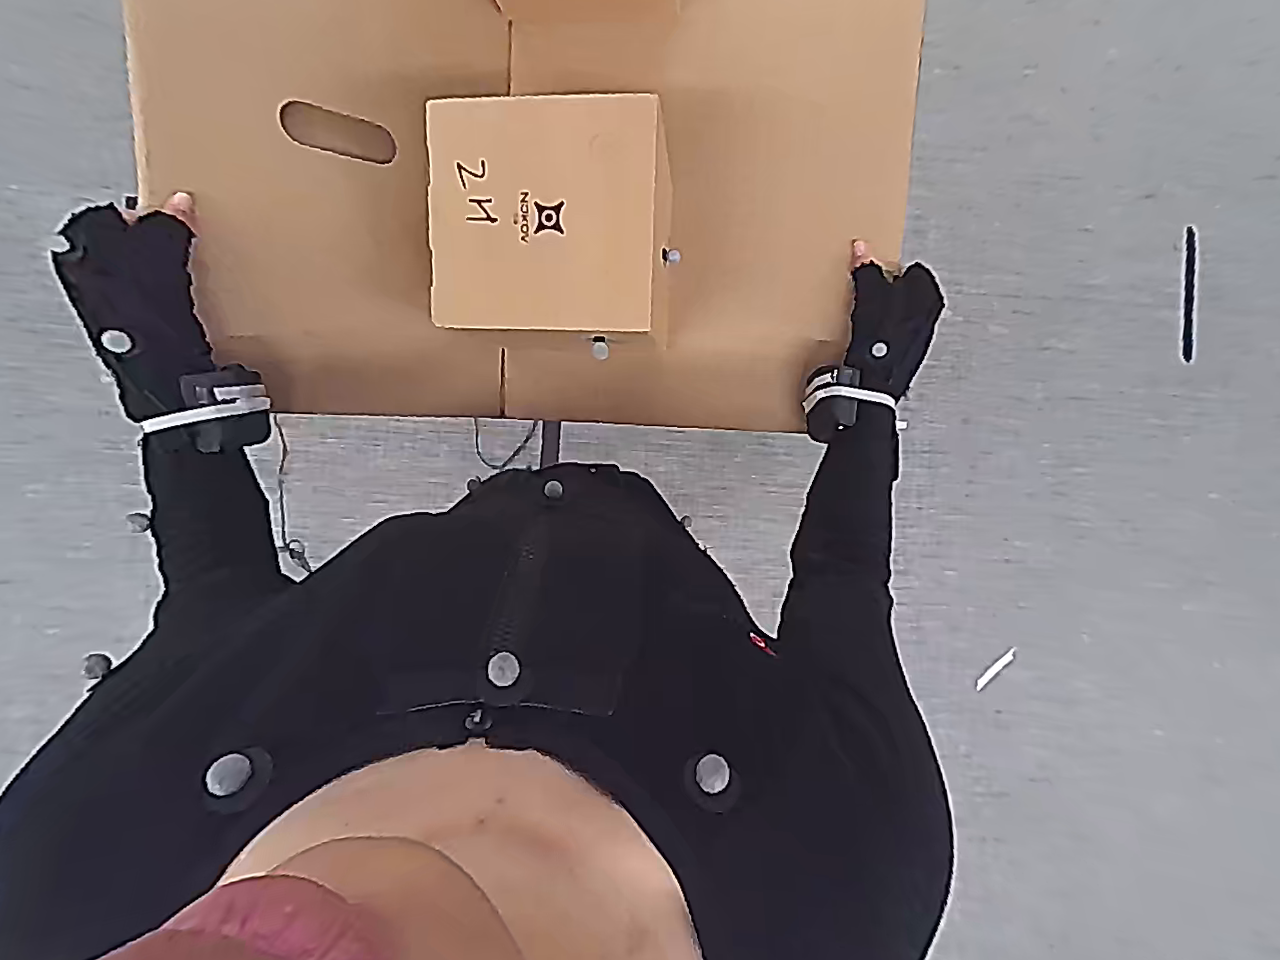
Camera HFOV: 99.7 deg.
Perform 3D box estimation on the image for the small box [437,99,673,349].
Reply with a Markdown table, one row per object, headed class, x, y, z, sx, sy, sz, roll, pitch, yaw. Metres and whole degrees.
| class | x | y | z | sx | sy | sz | roll | pitch | yaw |
| --- | --- | --- | --- | --- | --- | --- | --- | --- | --- |
| small box | -0.063 | -0.213 | 0.492 | 0.179 | 0.176 | 0.168 | 4 | 98 | 7 |
